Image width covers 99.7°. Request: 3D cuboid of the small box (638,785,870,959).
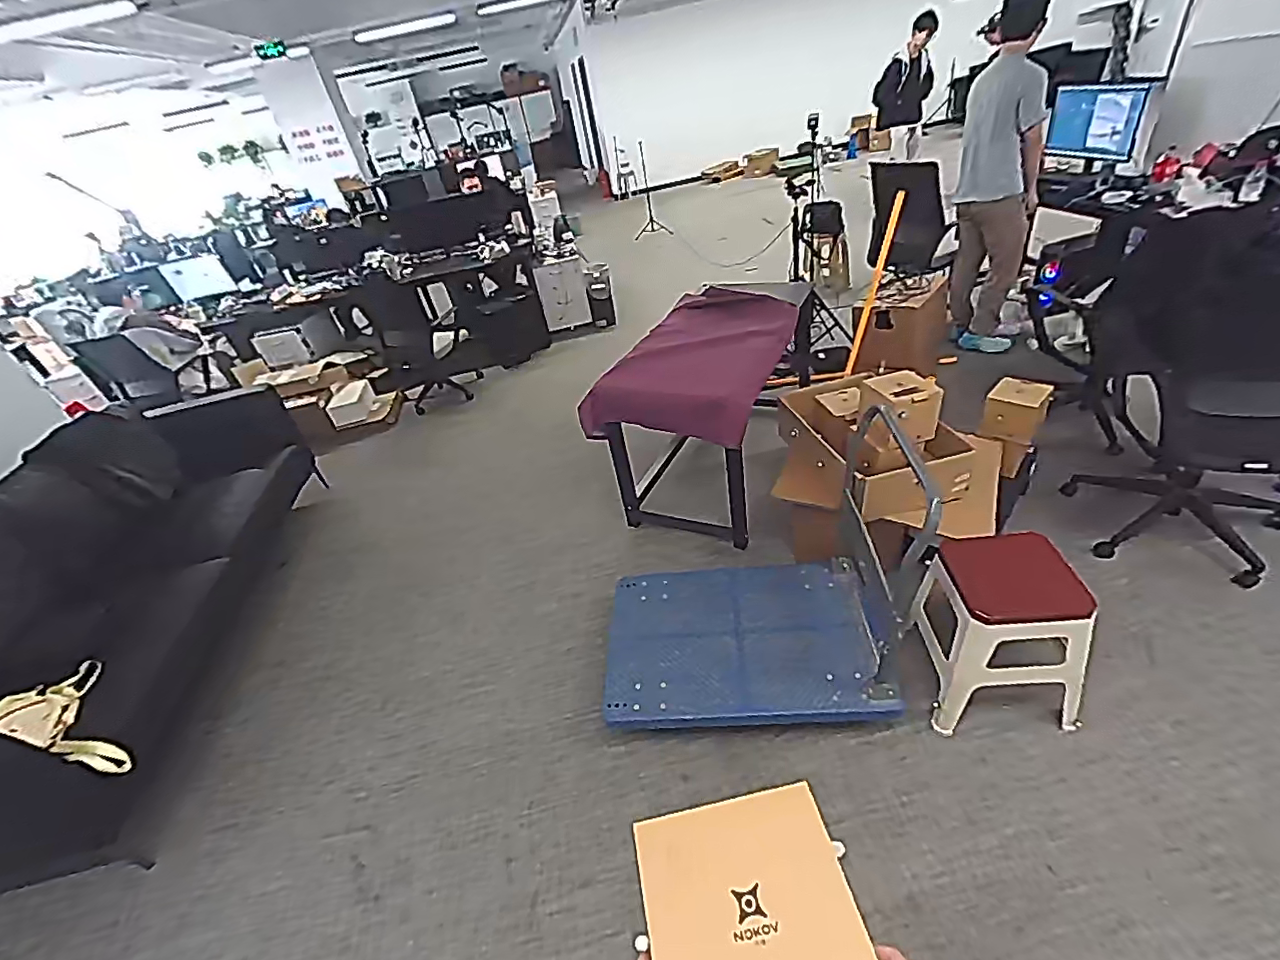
[{"bbox_3d":[0.098,0.413,0.482,0.168,0.176,0.179,-12,37,-2],"label":"small box"}]
